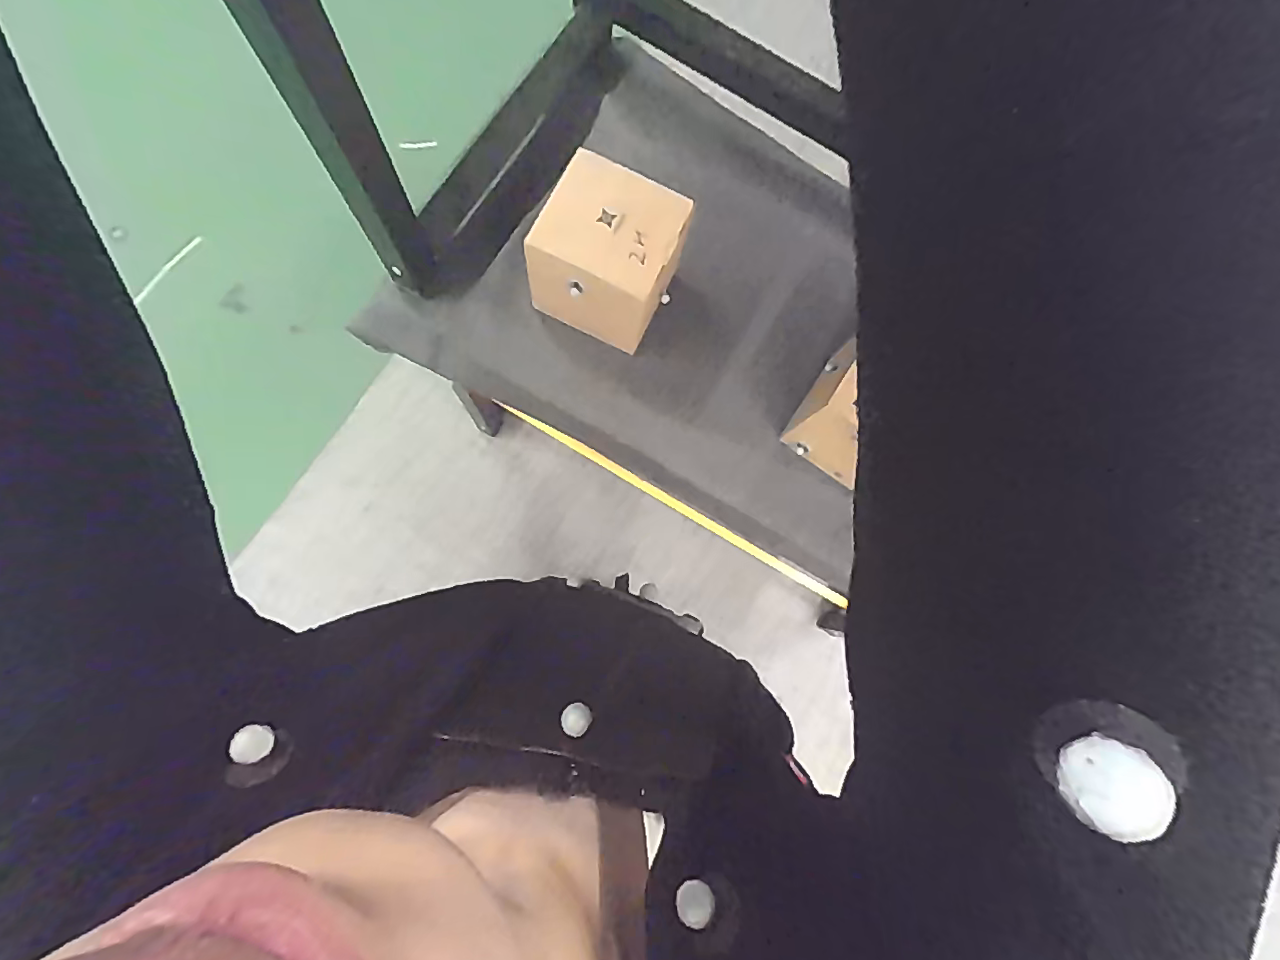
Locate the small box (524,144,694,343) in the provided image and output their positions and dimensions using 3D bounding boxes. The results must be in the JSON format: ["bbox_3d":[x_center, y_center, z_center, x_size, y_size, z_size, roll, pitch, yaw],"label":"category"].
[{"bbox_3d":[-0.048,-0.327,0.783,0.179,0.176,0.168,26,78,-2],"label":"small box"}]
